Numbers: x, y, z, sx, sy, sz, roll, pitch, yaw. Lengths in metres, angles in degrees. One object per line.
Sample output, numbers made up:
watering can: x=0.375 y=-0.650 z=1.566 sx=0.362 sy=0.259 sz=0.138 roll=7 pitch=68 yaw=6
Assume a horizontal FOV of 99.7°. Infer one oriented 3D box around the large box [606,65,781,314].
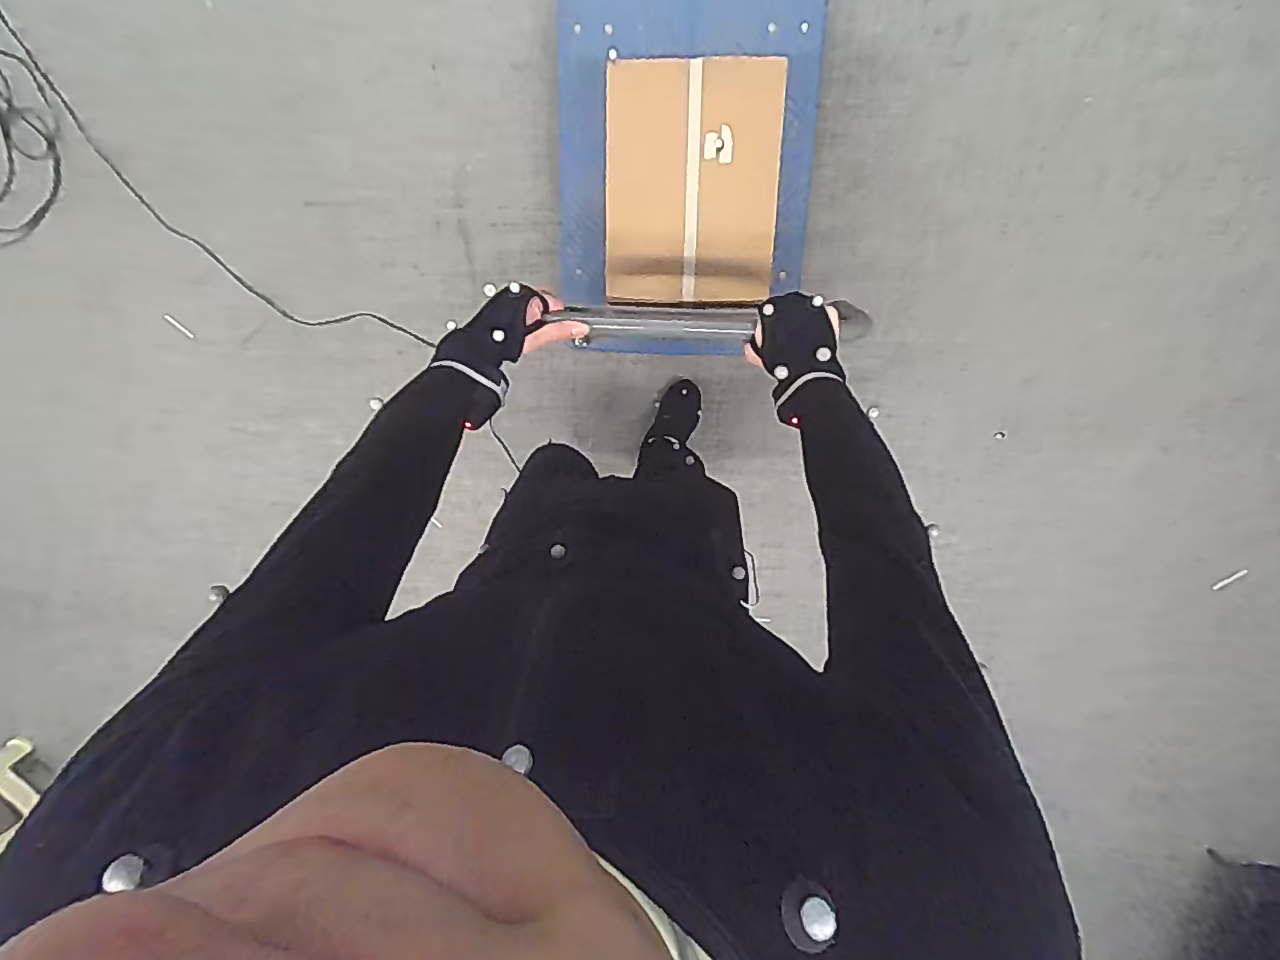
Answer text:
large box: x=0.103 y=-0.567 z=1.140 sx=0.320 sy=0.320 sz=0.408 roll=2 pitch=104 yaw=3
